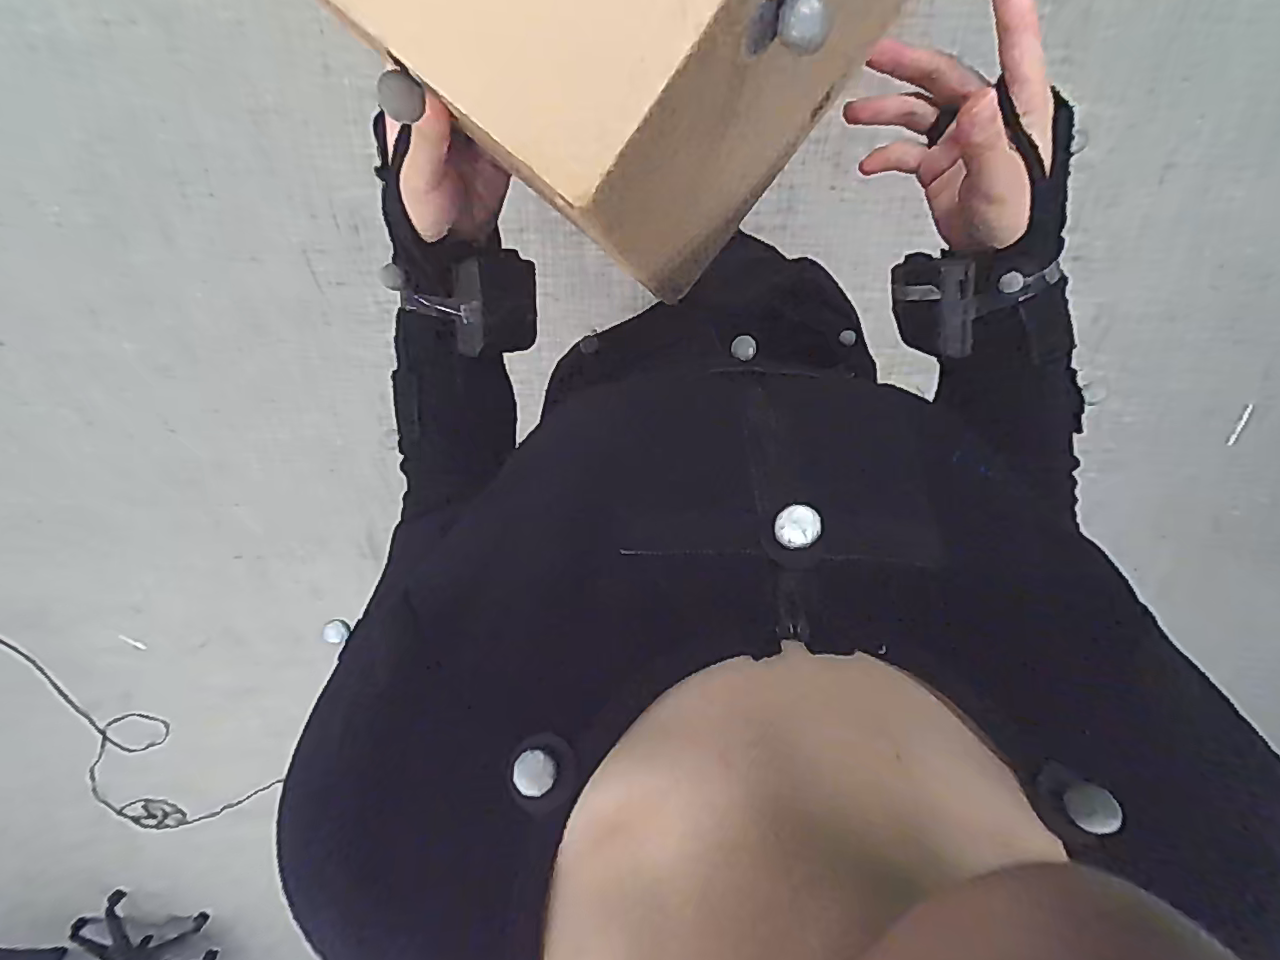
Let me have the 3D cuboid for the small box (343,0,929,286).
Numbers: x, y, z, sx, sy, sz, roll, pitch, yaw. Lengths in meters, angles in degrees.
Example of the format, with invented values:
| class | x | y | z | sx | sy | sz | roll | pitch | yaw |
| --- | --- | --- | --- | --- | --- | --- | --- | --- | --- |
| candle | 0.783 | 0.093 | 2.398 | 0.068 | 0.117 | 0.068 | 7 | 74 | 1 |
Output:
| class | x | y | z | sx | sy | sz | roll | pitch | yaw |
| --- | --- | --- | --- | --- | --- | --- | --- | --- | --- |
| small box | -0.003 | -0.192 | 0.187 | 0.179 | 0.176 | 0.168 | 41 | 106 | 2 |
